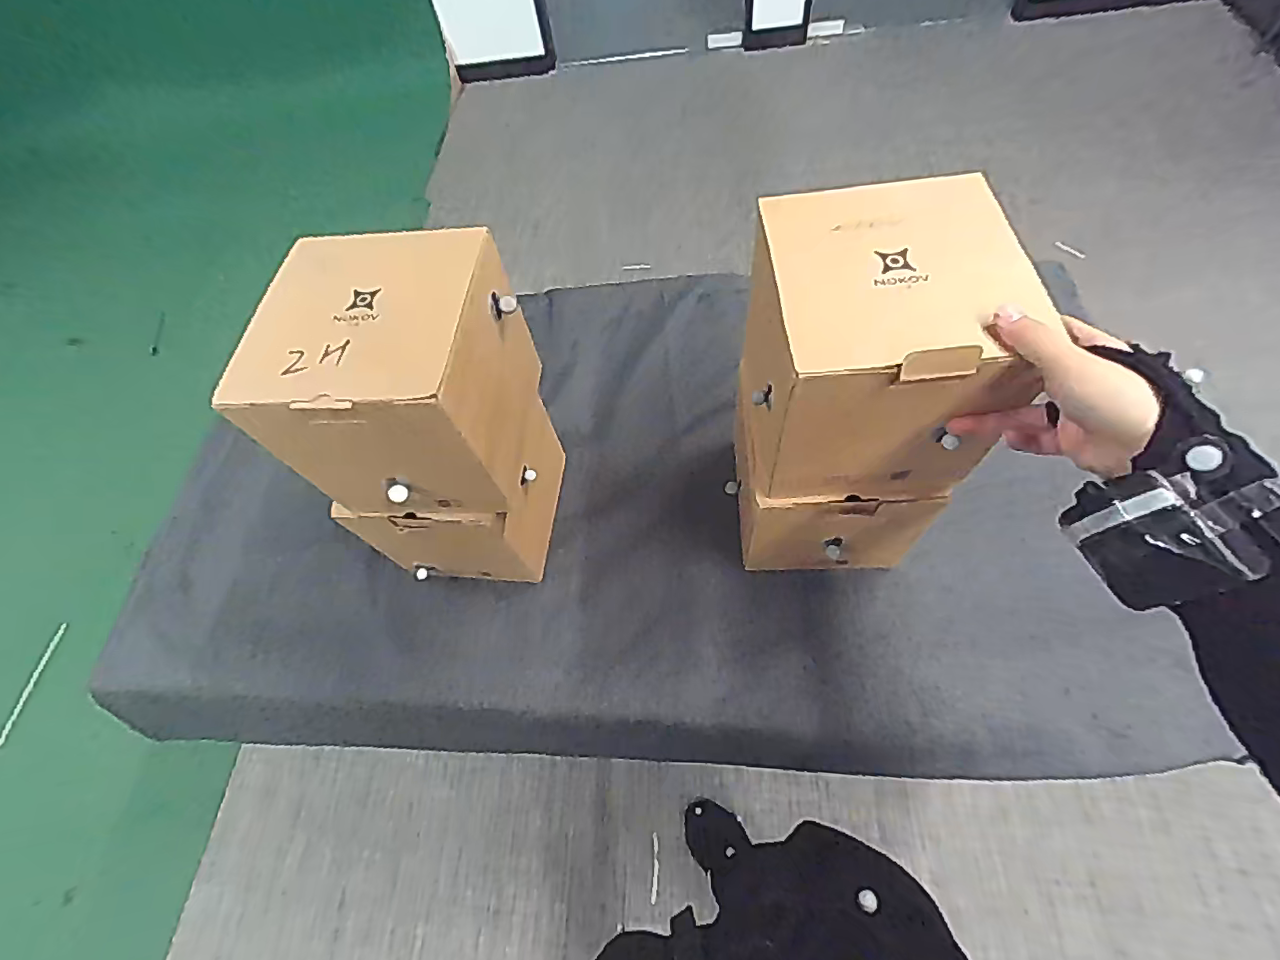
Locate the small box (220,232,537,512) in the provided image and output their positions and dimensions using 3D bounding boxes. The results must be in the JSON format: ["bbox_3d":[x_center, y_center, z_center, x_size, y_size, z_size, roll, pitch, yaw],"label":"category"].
[{"bbox_3d":[-0.198,-0.087,0.475,0.168,0.176,0.179,0,61,7],"label":"small box"}]

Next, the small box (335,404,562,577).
[{"bbox_3d":[-0.196,0.000,0.615,0.168,0.176,0.179,3,60,8],"label":"small box"}]

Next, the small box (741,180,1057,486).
[{"bbox_3d":[0.177,-0.104,0.439,0.168,0.176,0.179,-4,60,4],"label":"small box"}]

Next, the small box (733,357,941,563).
[{"bbox_3d":[0.188,-0.016,0.576,0.168,0.176,0.179,-2,61,6],"label":"small box"}]
